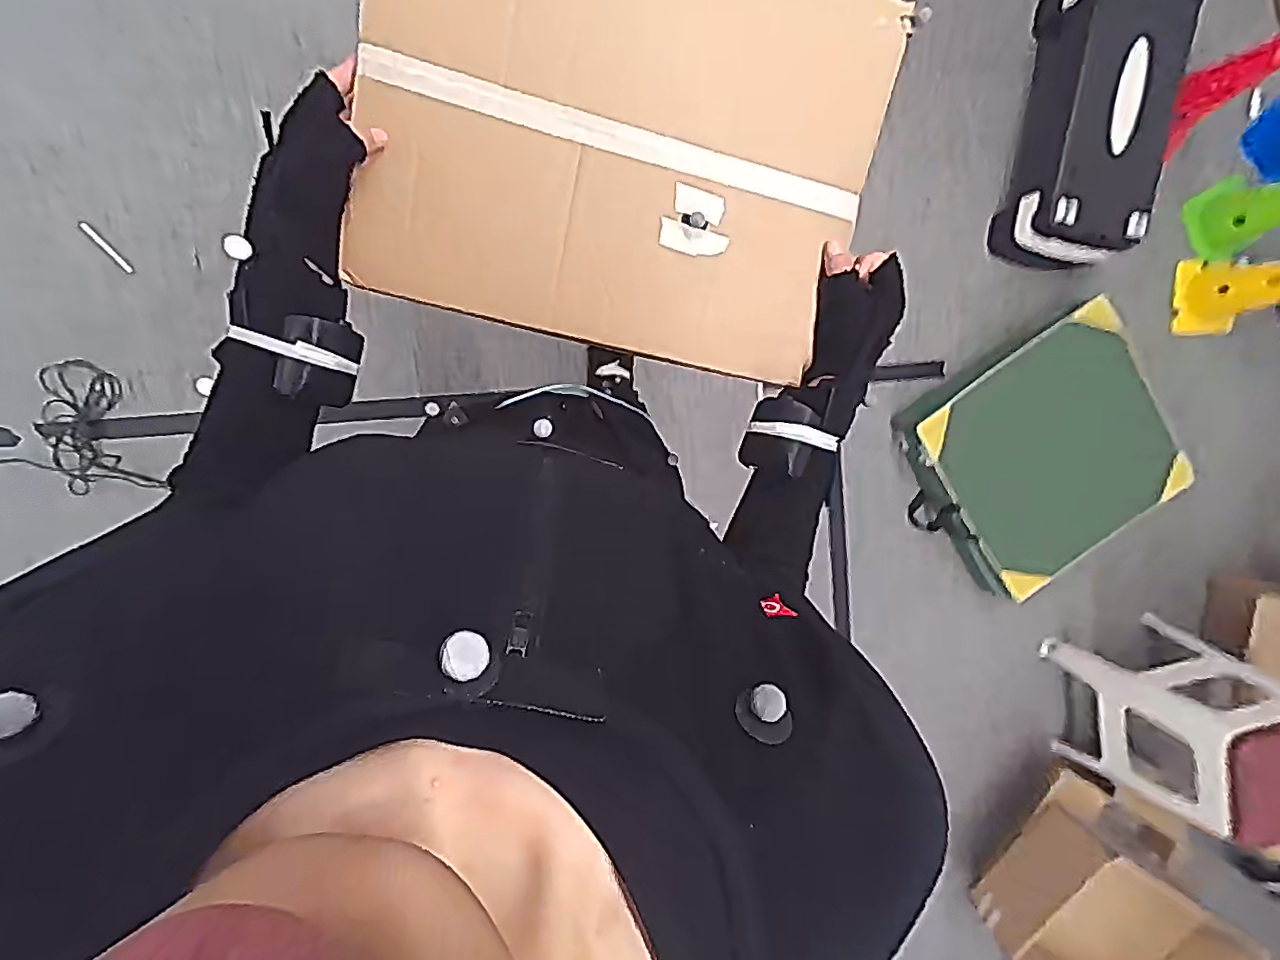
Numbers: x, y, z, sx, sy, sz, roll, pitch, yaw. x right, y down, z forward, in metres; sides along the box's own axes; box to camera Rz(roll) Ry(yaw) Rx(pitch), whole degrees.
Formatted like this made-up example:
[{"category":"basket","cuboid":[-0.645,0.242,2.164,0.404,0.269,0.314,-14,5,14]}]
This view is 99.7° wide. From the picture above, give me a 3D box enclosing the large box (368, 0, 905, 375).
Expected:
[{"category":"large box","cuboid":[-0.024,-0.313,0.584,0.408,0.320,0.320,11,104,-12]}]
